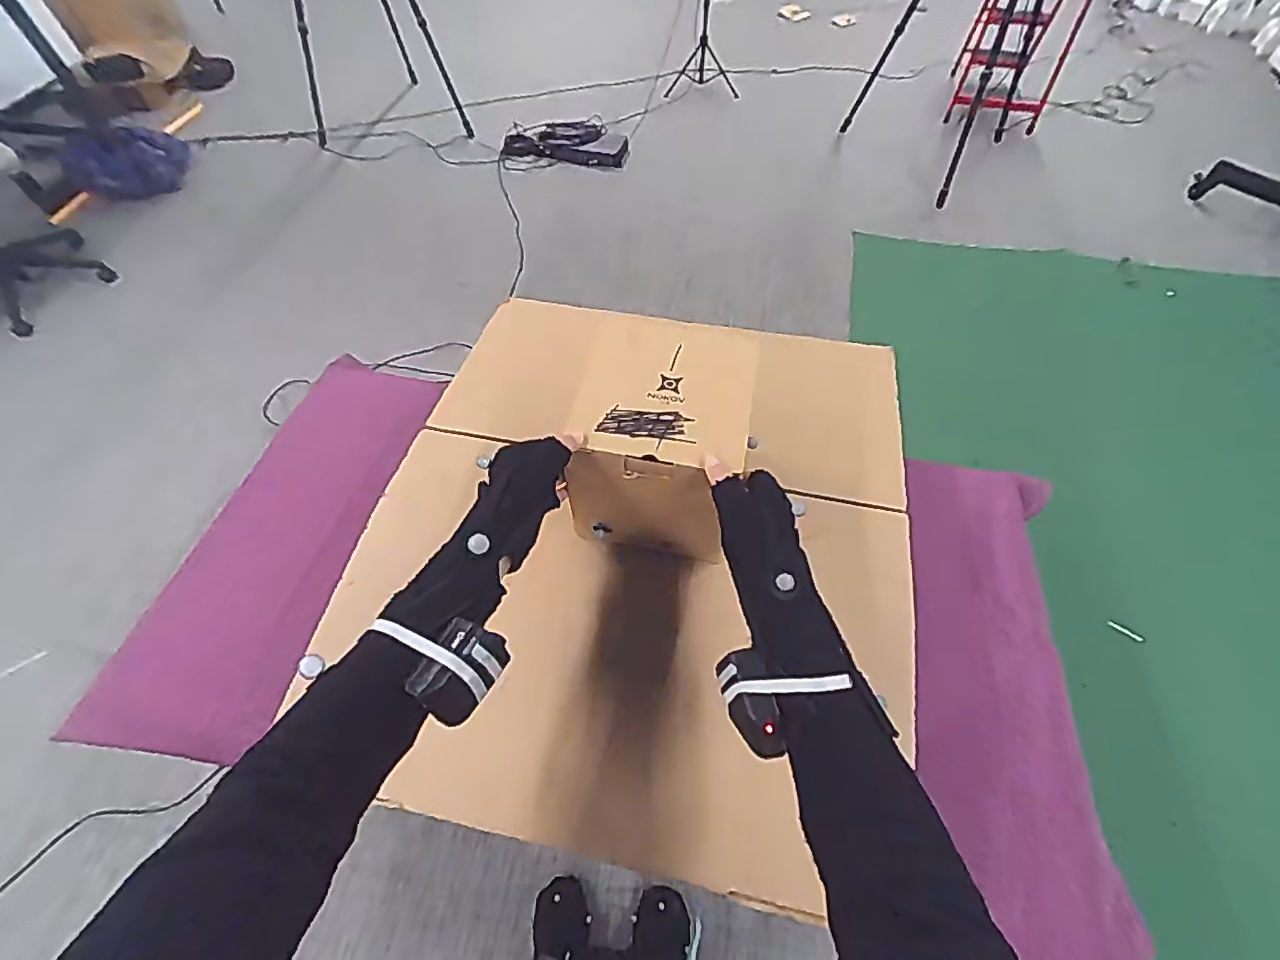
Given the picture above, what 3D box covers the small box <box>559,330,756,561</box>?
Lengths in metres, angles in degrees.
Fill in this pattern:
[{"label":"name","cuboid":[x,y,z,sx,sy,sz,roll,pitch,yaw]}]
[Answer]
[{"label":"small box","cuboid":[0.024,-0.033,0.589,0.168,0.176,0.179,10,55,7]}]
